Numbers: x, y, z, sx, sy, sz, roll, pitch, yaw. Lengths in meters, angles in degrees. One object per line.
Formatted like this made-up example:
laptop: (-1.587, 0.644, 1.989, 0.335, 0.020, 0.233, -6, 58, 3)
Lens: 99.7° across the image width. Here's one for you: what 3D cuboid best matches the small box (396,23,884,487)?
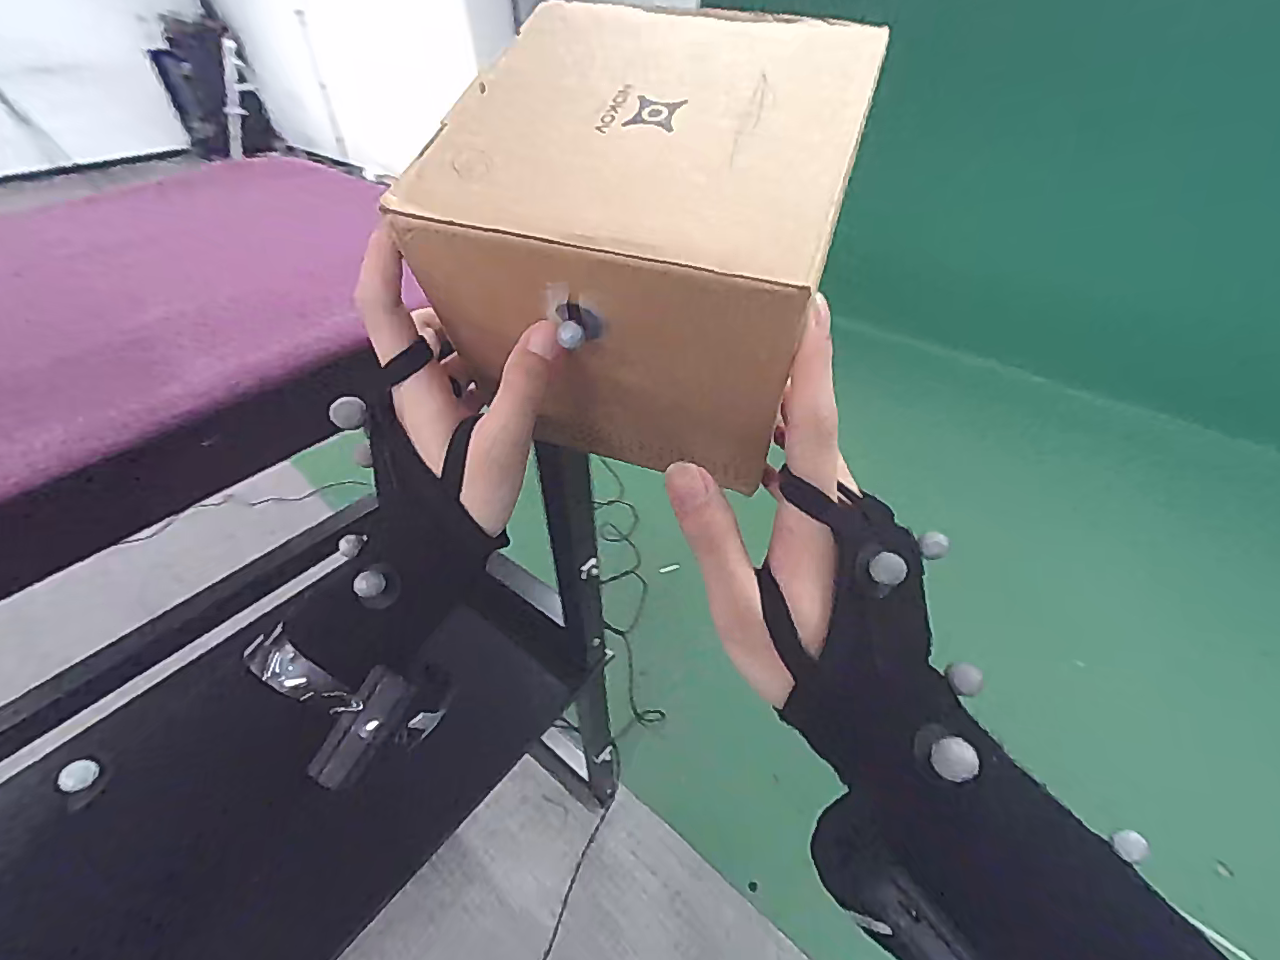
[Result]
small box: (0.011, -0.116, 0.310, 0.179, 0.176, 0.168, 17, 66, 14)
